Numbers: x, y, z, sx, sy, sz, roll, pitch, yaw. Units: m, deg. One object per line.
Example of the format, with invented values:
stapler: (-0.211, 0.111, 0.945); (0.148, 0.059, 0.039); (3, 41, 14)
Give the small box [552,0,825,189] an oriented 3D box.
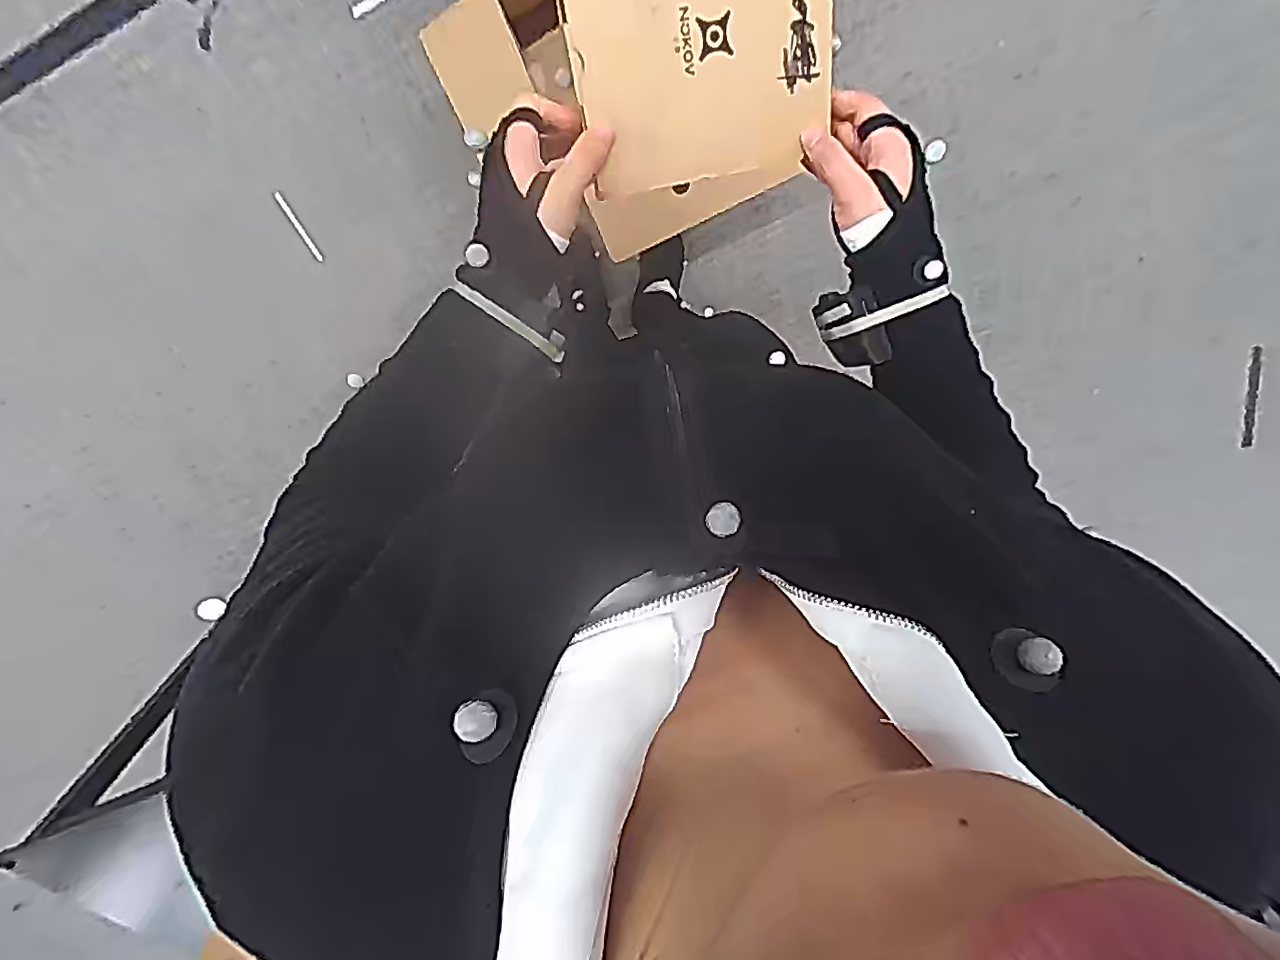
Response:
small box: (0.032, -0.339, 0.424); (0.179, 0.176, 0.168); (-10, 123, 3)
